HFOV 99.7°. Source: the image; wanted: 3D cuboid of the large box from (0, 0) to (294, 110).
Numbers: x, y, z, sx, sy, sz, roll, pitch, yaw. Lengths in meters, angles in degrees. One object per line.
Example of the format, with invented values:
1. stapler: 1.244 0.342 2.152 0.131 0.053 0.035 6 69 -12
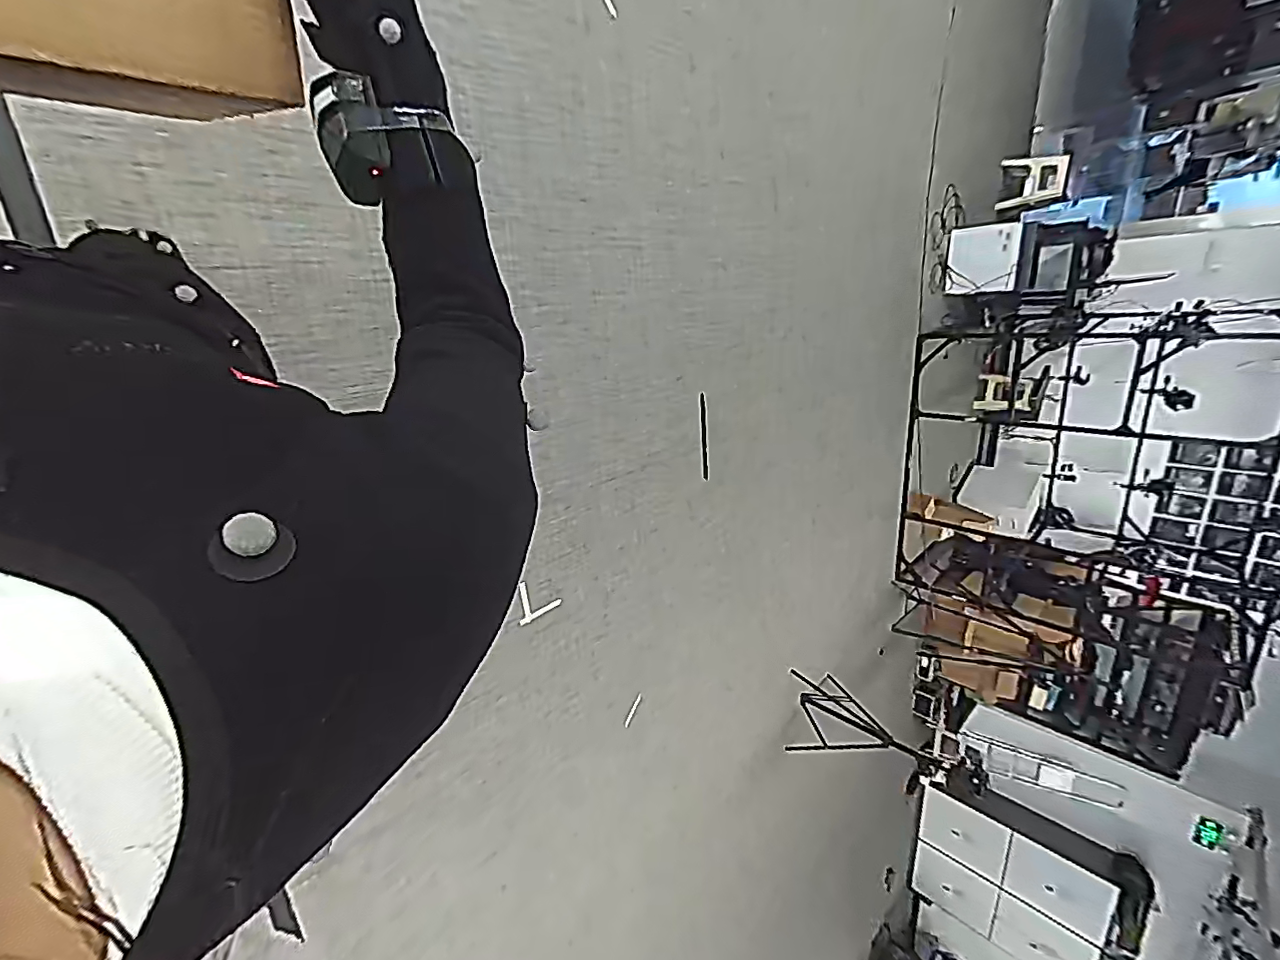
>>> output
1. large box: -0.477 -0.408 0.274 0.408 0.320 0.320 -21 128 -42
